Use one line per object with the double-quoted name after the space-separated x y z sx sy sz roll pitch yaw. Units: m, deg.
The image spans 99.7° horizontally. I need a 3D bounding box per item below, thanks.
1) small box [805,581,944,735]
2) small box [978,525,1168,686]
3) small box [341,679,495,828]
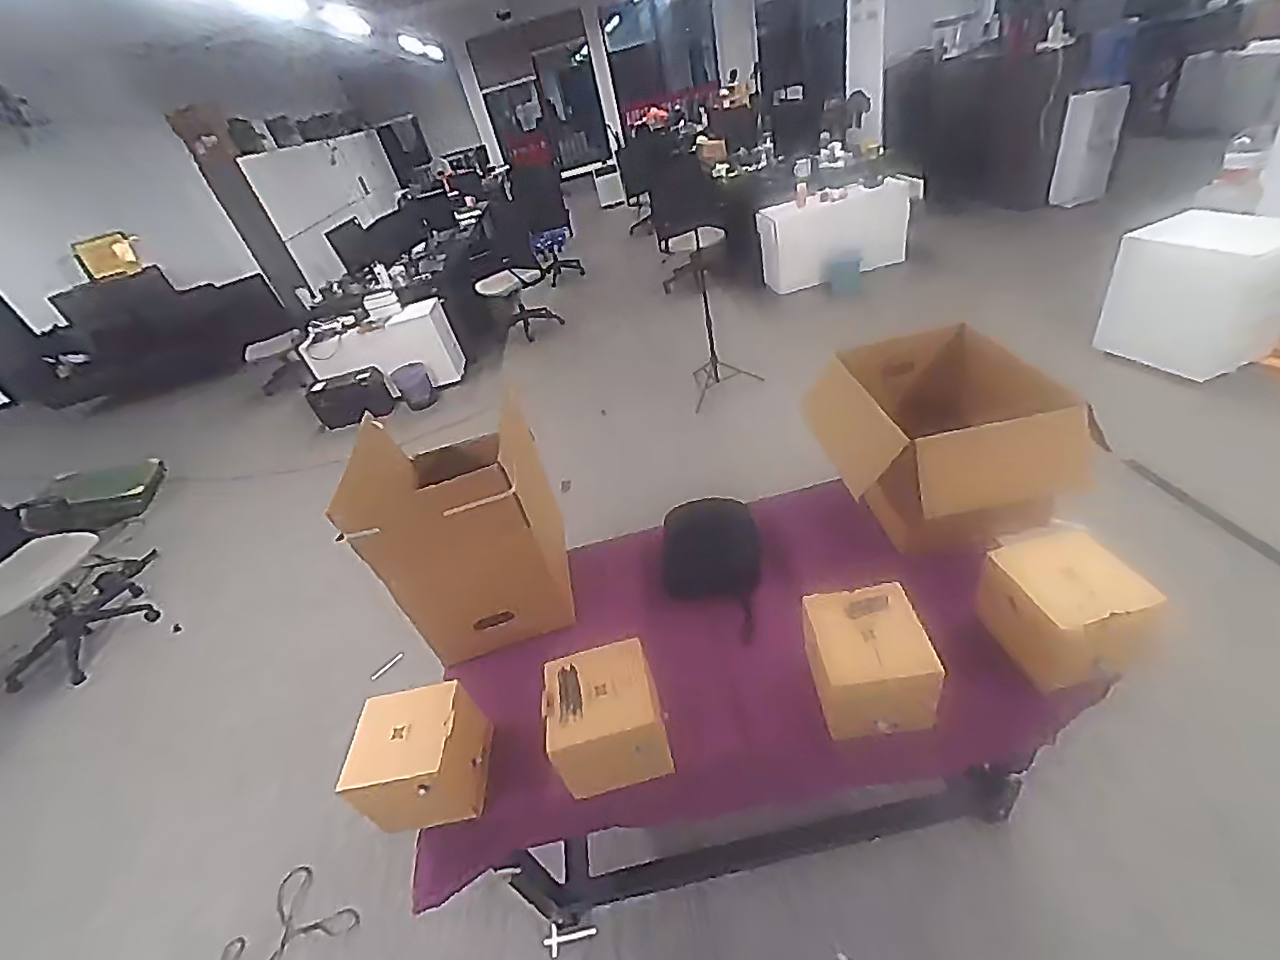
0.383 0.300 0.913 0.168 0.176 0.179 -11 38 7 "small box"
0.703 0.209 0.907 0.168 0.176 0.179 -16 36 2 "small box"
-0.378 0.486 0.957 0.179 0.176 0.168 -13 36 2 "small box"
